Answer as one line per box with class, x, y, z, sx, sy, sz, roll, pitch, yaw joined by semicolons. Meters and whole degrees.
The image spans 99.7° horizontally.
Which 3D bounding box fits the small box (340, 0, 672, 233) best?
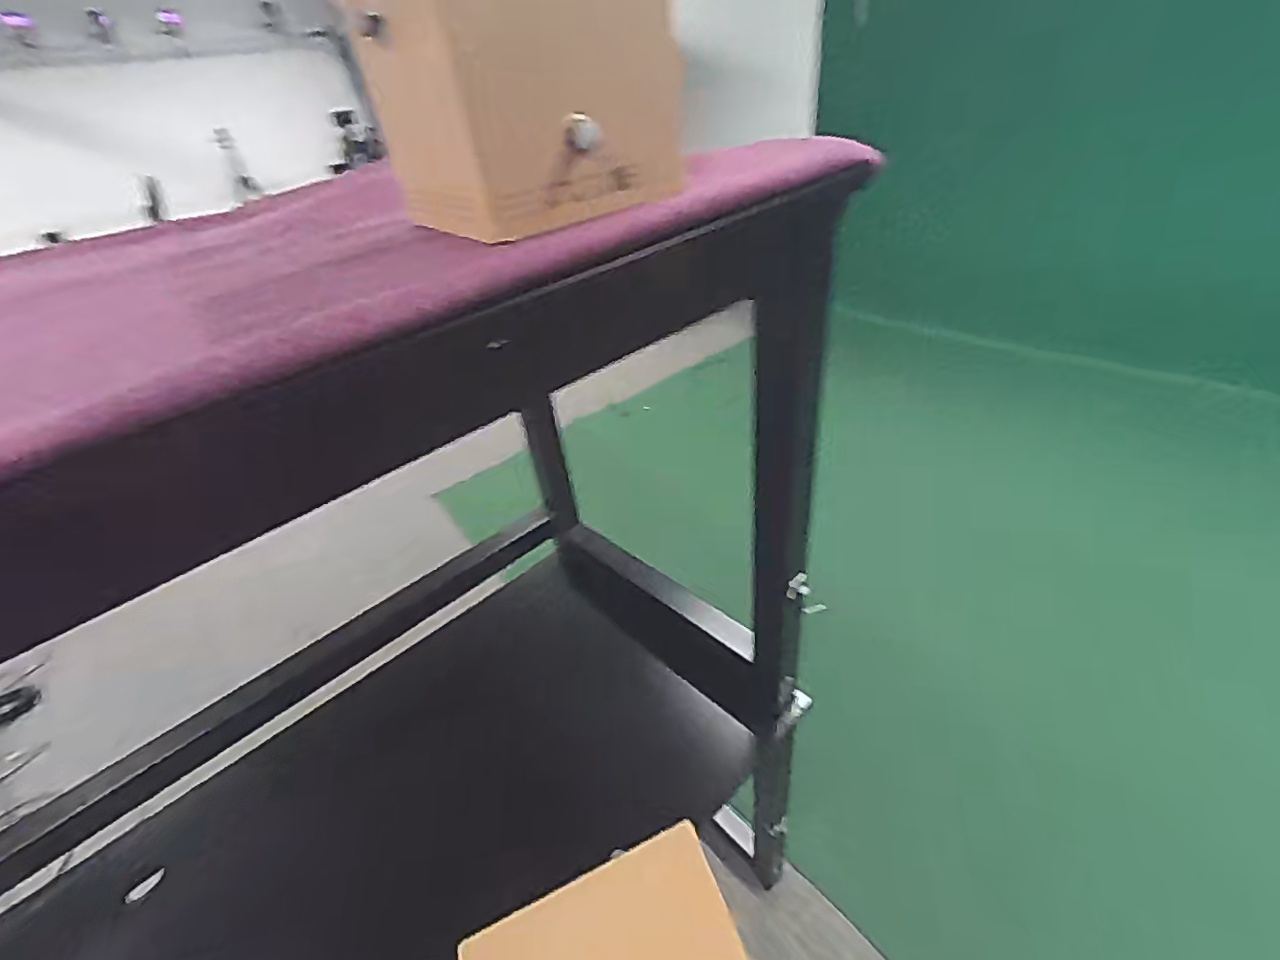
small box;-0.095;-0.290;0.392;0.168;0.176;0.179;-30;42;-25
